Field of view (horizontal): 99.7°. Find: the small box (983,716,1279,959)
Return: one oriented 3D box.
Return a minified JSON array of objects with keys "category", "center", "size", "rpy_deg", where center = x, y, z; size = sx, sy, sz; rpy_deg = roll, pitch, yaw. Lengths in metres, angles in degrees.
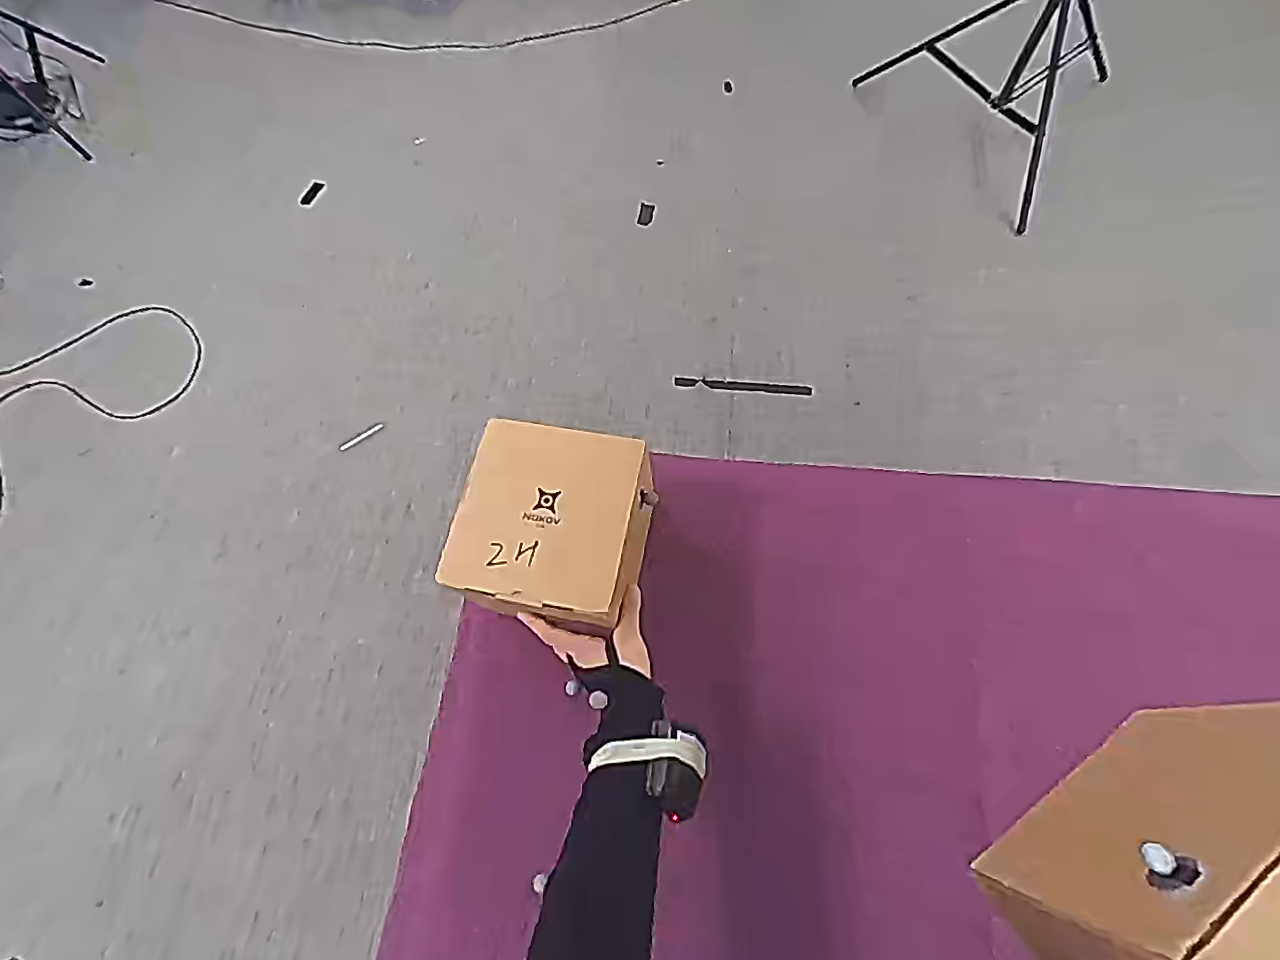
[{"category":"small box","center":[0.322,0.233,0.265],"size":[0.179,0.176,0.168],"rpy_deg":[-33,67,-11]}]

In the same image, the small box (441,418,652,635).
[{"category":"small box","center":[-0.082,0.058,0.585],"size":[0.168,0.176,0.179],"rpy_deg":[9,69,8]}]
